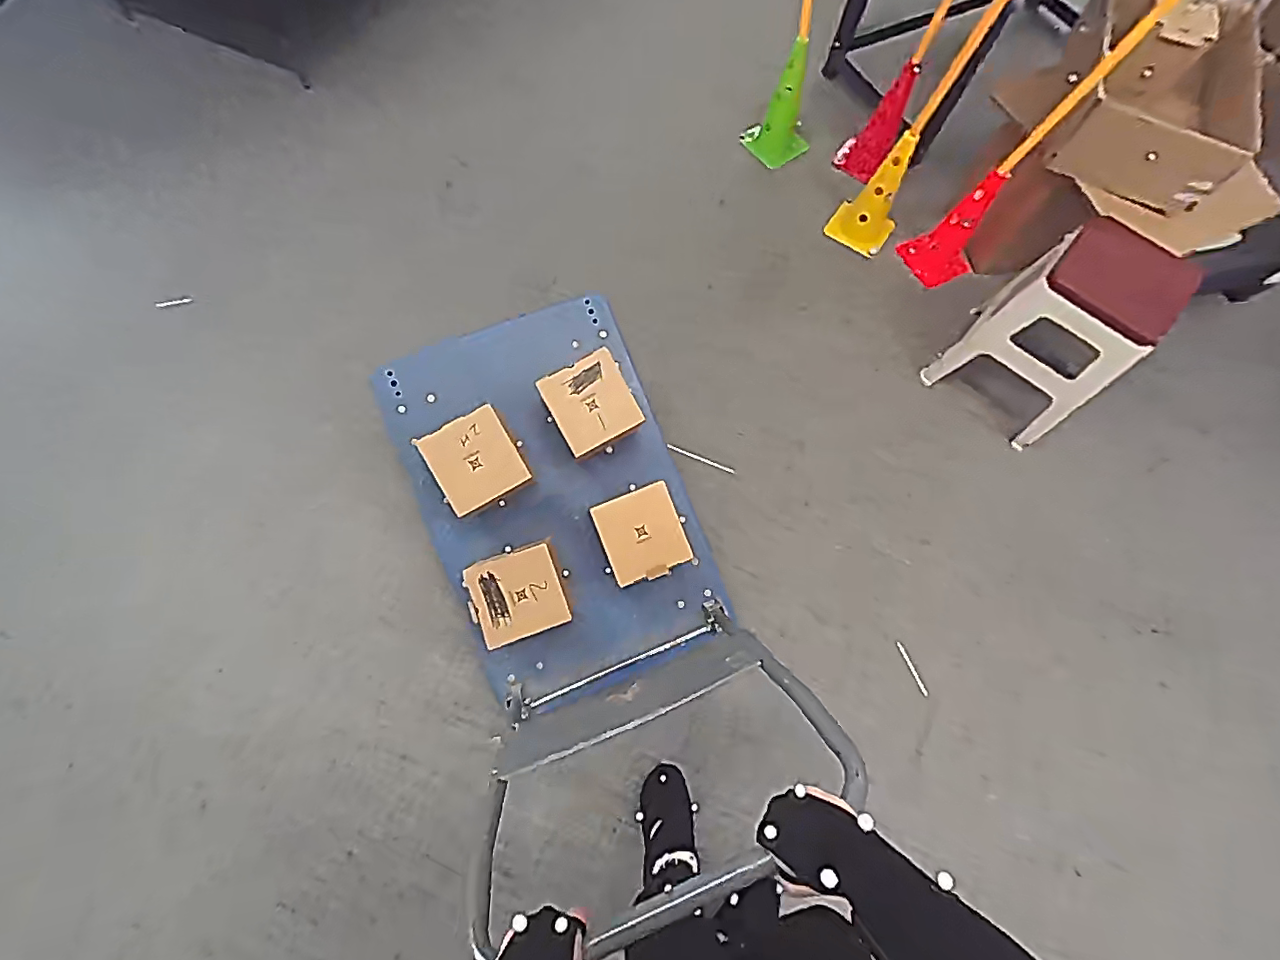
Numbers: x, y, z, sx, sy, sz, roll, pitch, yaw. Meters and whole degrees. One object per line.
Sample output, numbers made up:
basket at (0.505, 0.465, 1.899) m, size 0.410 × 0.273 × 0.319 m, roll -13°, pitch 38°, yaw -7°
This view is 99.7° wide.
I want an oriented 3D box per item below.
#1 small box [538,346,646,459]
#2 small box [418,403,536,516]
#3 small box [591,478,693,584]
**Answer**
small box at (-0.107, -0.160, 1.180) m, size 0.168 × 0.176 × 0.179 m, roll -29°, pitch 91°, yaw -6°
small box at (-0.336, -0.040, 1.151) m, size 0.168 × 0.176 × 0.179 m, roll -29°, pitch 91°, yaw -7°
small box at (-0.003, 0.107, 1.182) m, size 0.168 × 0.176 × 0.179 m, roll -22°, pitch 91°, yaw -6°
